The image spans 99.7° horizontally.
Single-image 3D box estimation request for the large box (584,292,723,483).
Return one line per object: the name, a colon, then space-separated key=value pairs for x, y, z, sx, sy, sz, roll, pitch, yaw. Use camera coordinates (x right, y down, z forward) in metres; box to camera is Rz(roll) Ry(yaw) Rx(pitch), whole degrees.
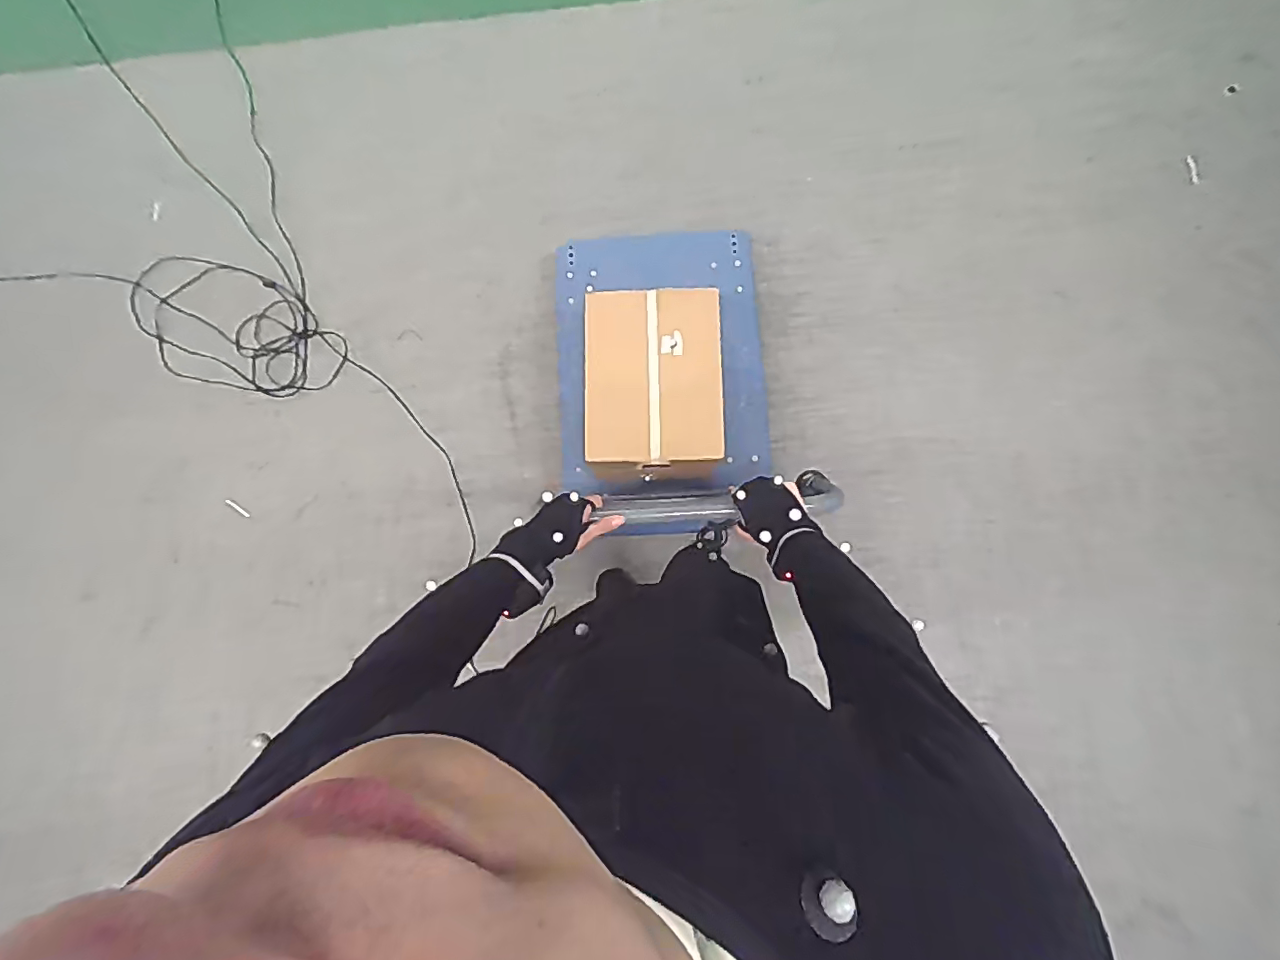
large box: x=0.033 y=-0.215 z=1.380 sx=0.320 sy=0.320 sz=0.408 roll=-1 pitch=81 yaw=1
